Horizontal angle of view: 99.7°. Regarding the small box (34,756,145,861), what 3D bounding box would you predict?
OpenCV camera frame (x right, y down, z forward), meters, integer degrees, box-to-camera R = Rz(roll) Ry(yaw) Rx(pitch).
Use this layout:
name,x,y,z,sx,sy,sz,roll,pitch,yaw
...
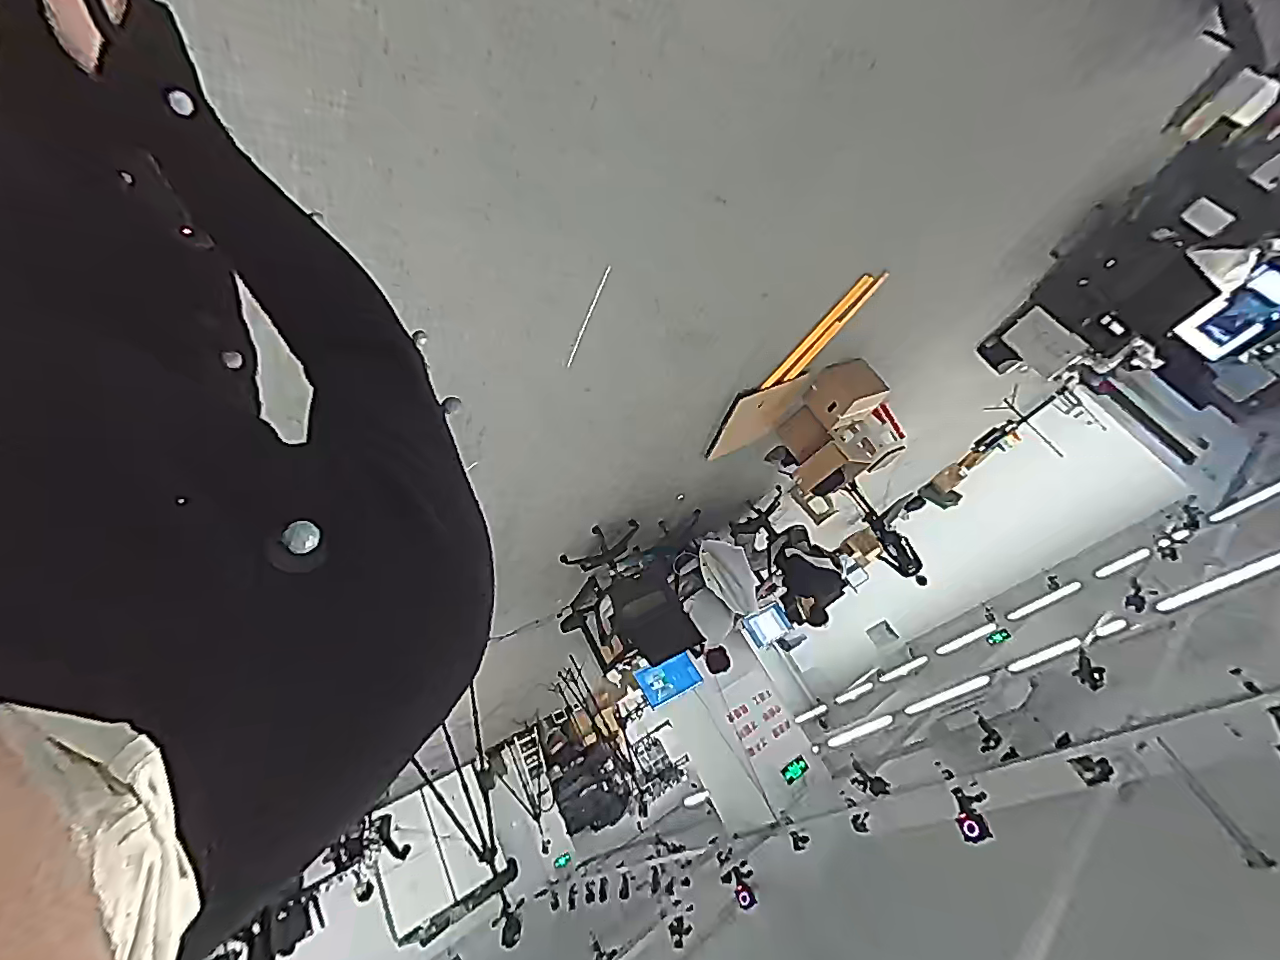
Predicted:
name,x,y,z,sx,sy,sz,roll,pitch,yaw
small box,-1.475,0.879,1.453,0.179,0.176,0.168,-14,152,-36
